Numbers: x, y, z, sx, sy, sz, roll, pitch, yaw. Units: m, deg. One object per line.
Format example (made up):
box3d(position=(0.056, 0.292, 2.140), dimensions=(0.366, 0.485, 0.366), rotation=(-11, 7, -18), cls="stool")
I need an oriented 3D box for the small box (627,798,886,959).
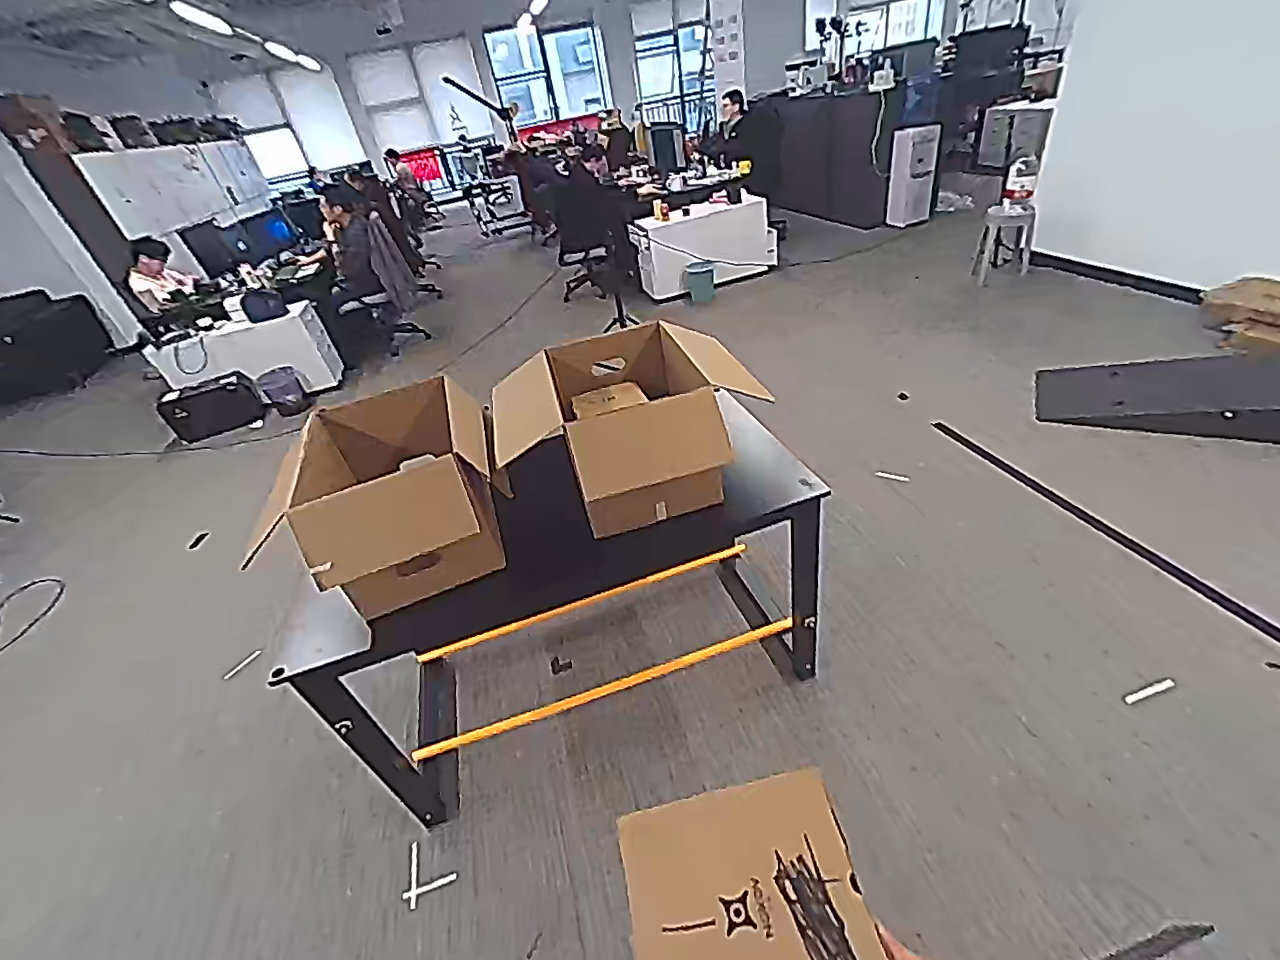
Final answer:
box3d(position=(0.096, 0.396, 0.461), dimensions=(0.179, 0.176, 0.168), rotation=(-13, 47, -2), cls="small box")
